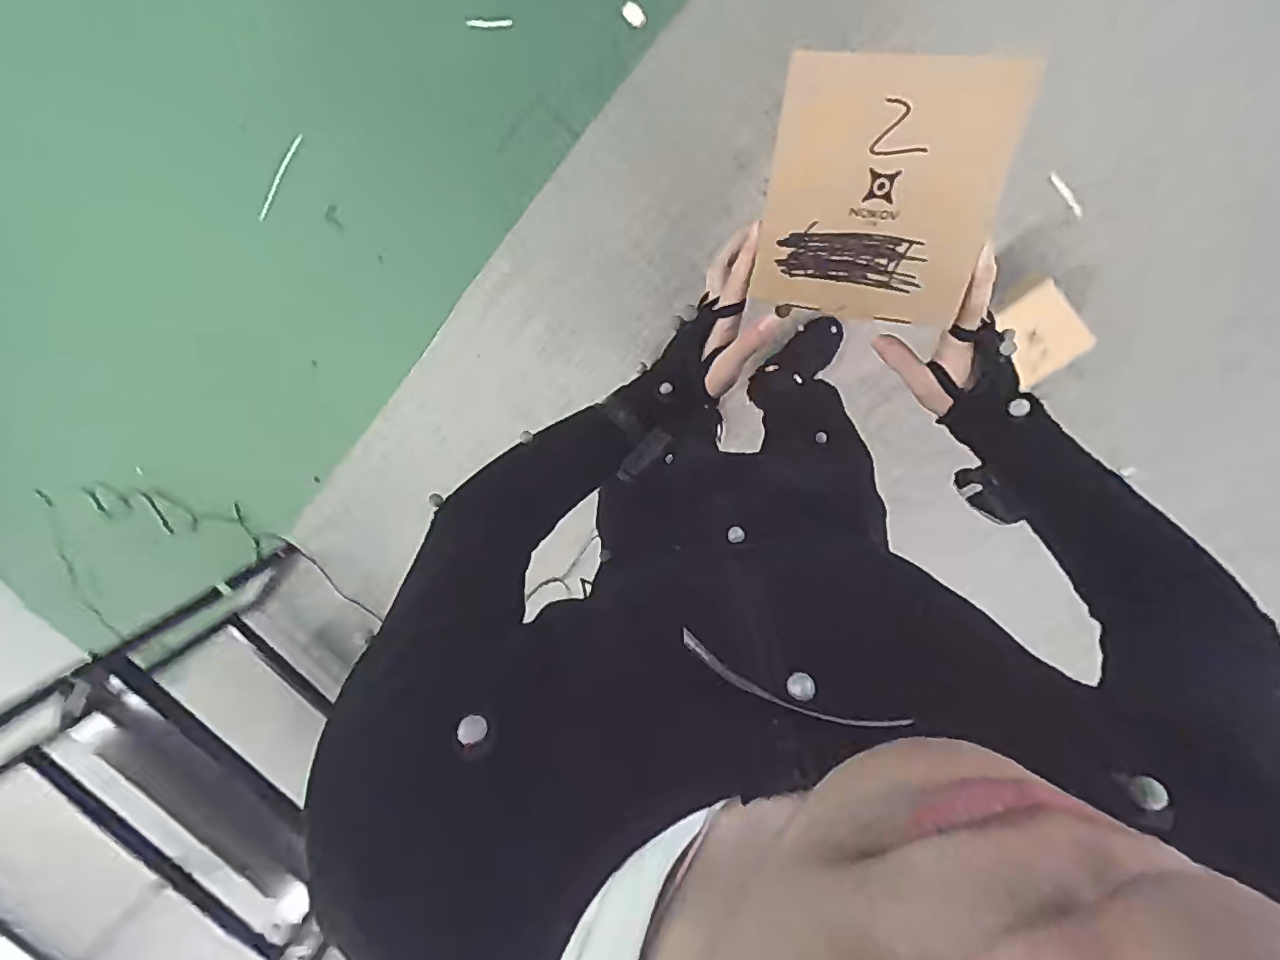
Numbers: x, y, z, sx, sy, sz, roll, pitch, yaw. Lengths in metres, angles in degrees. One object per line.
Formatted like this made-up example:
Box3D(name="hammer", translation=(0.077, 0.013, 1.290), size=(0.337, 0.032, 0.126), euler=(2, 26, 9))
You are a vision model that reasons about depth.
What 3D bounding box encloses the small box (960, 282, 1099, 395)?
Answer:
Box3D(name="small box", translation=(0.858, -0.322, 1.211), size=(0.168, 0.176, 0.179), euler=(-38, 98, 27))
